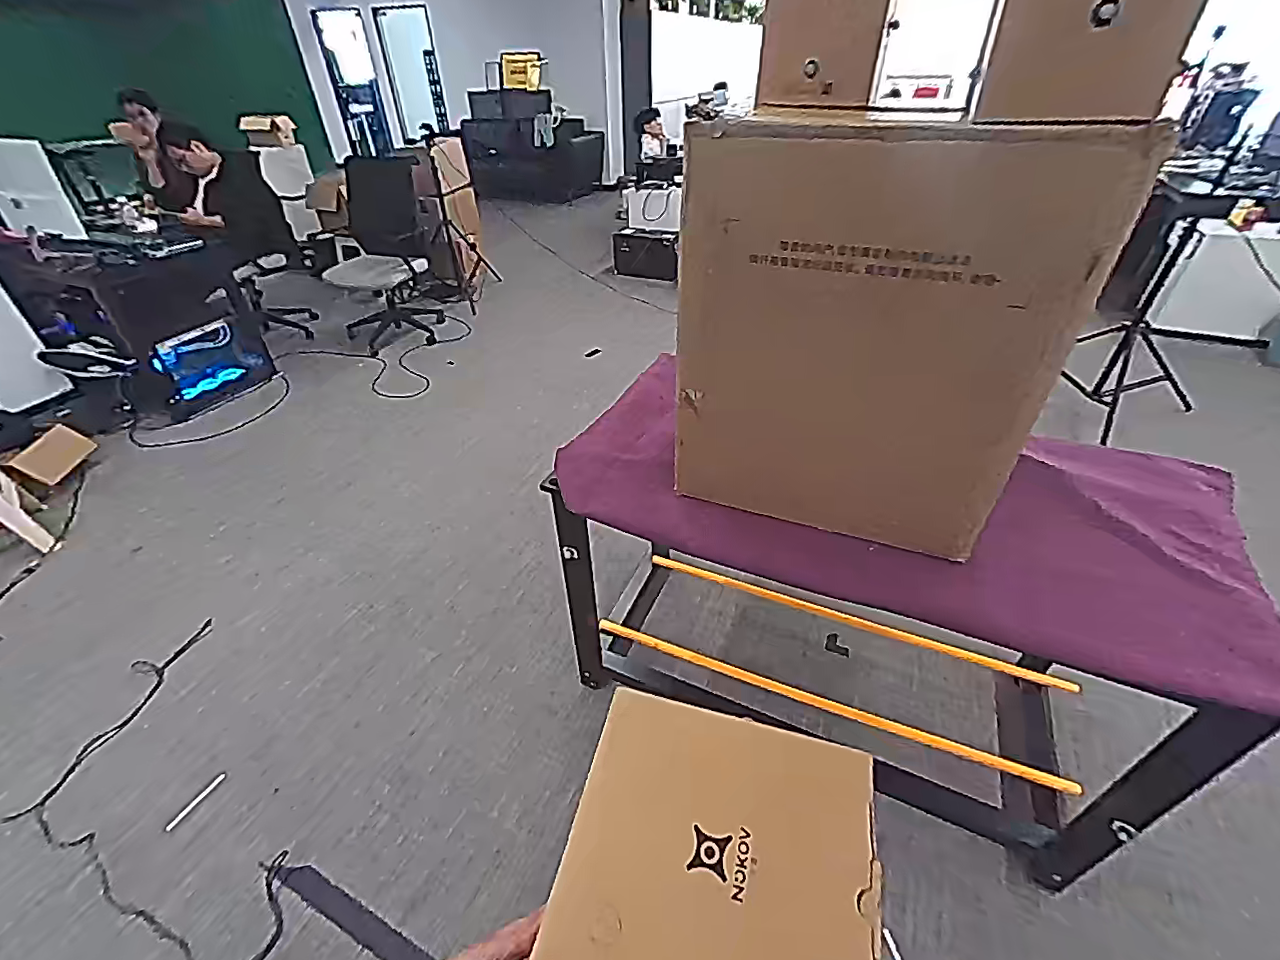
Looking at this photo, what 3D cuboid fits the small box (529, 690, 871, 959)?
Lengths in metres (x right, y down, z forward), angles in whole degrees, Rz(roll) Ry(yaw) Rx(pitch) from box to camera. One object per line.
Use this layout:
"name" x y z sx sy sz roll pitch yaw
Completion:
"small box" 0.047 0.278 0.373 0.179 0.176 0.168 10 45 12

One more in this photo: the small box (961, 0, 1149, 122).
"small box" 0.553 -0.596 0.734 0.168 0.176 0.179 14 40 21
